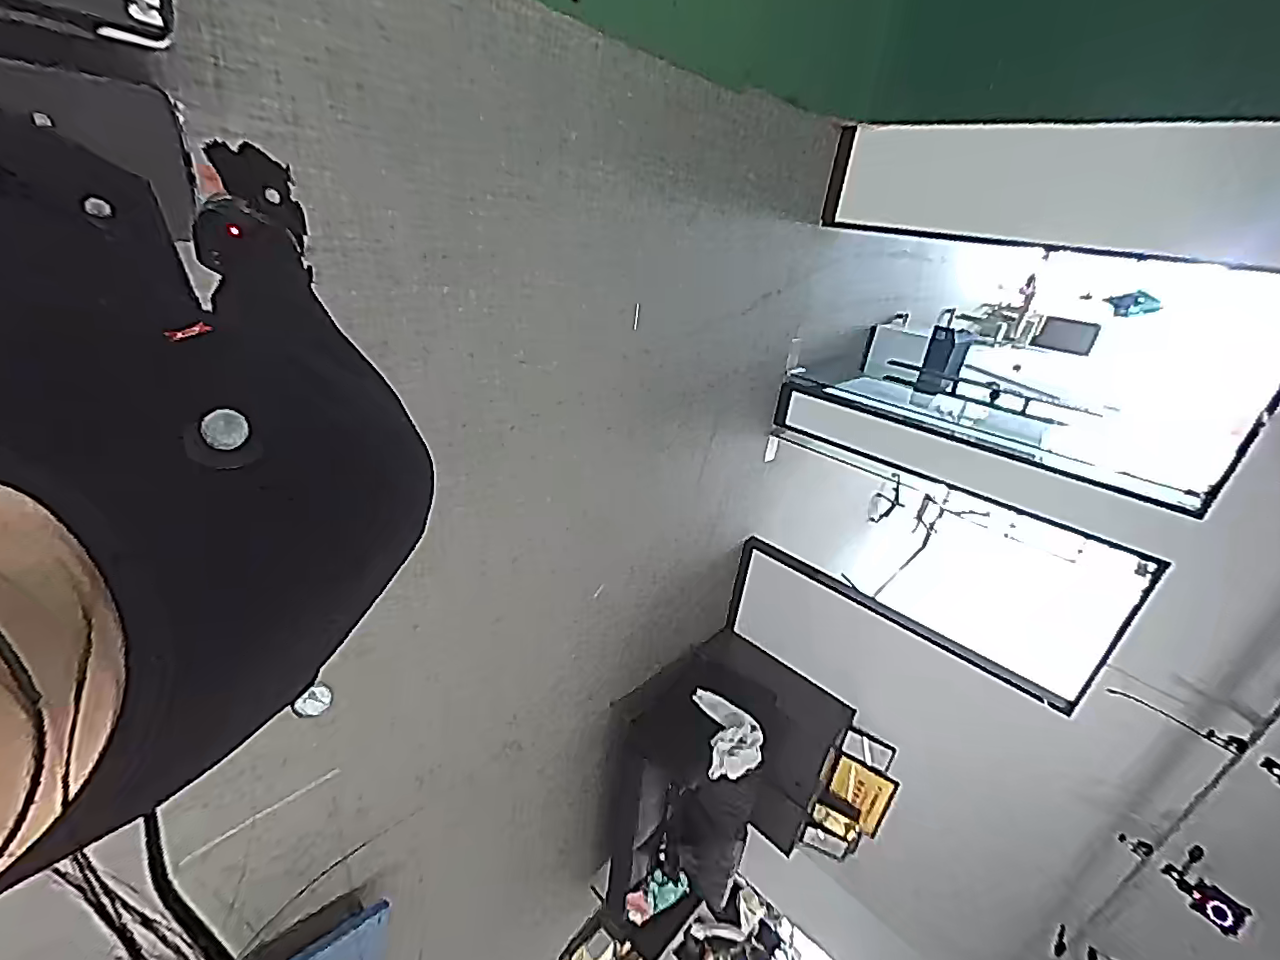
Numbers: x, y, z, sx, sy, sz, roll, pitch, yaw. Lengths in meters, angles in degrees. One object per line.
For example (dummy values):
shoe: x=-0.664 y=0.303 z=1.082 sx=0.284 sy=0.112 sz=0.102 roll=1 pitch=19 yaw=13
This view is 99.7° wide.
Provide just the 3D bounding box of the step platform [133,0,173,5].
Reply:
step platform: x=-0.924 y=-0.780 z=0.558 sx=0.684 sy=0.204 sz=0.286 roll=-19 pitch=127 yaw=-43
